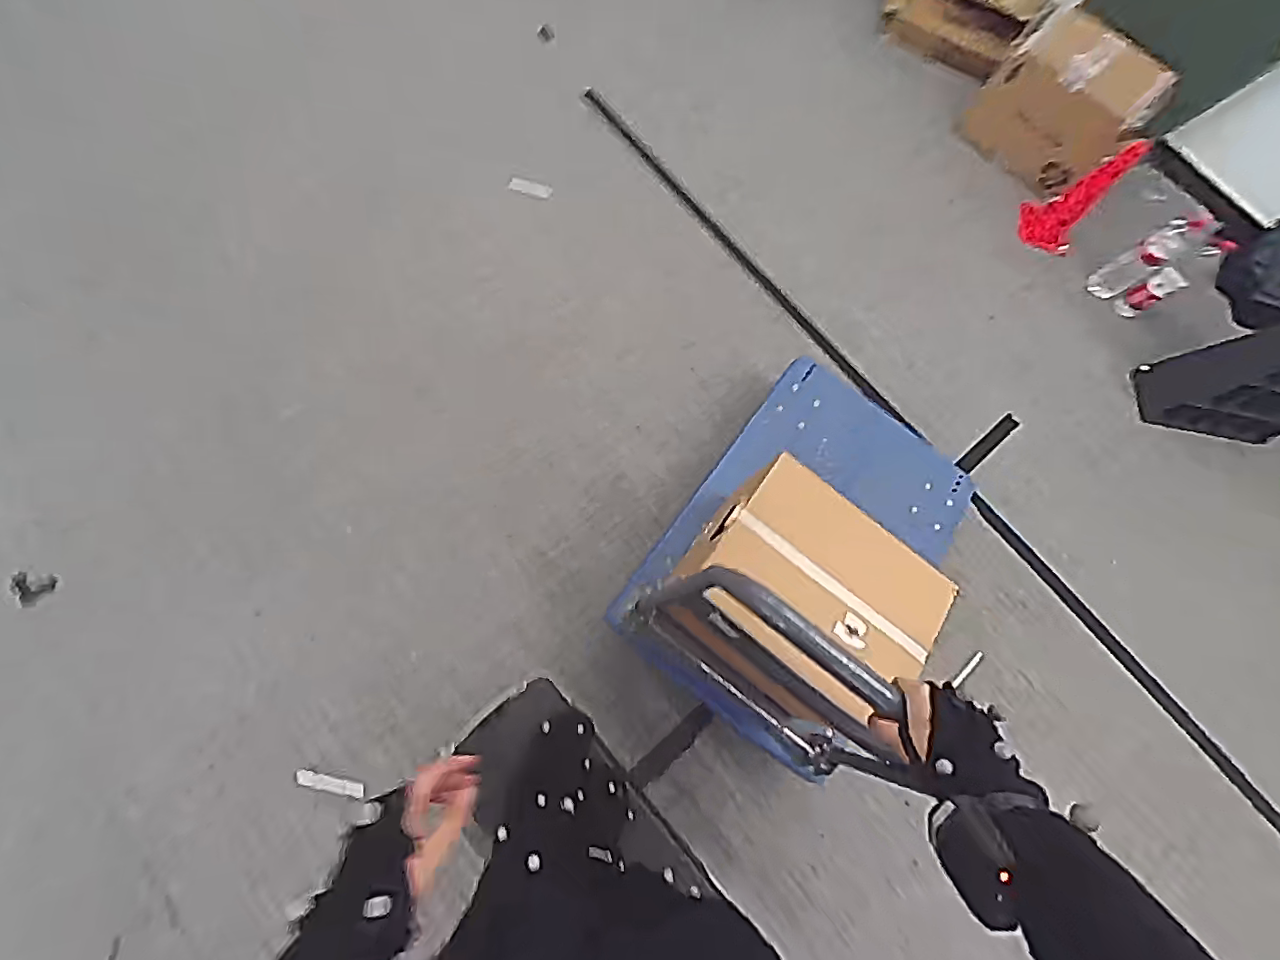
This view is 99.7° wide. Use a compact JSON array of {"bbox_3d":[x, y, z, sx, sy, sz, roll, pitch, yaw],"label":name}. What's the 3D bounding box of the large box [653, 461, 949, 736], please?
[{"bbox_3d":[0.295,0.236,1.079,0.408,0.320,0.320,38,69,2],"label":"large box"}]
